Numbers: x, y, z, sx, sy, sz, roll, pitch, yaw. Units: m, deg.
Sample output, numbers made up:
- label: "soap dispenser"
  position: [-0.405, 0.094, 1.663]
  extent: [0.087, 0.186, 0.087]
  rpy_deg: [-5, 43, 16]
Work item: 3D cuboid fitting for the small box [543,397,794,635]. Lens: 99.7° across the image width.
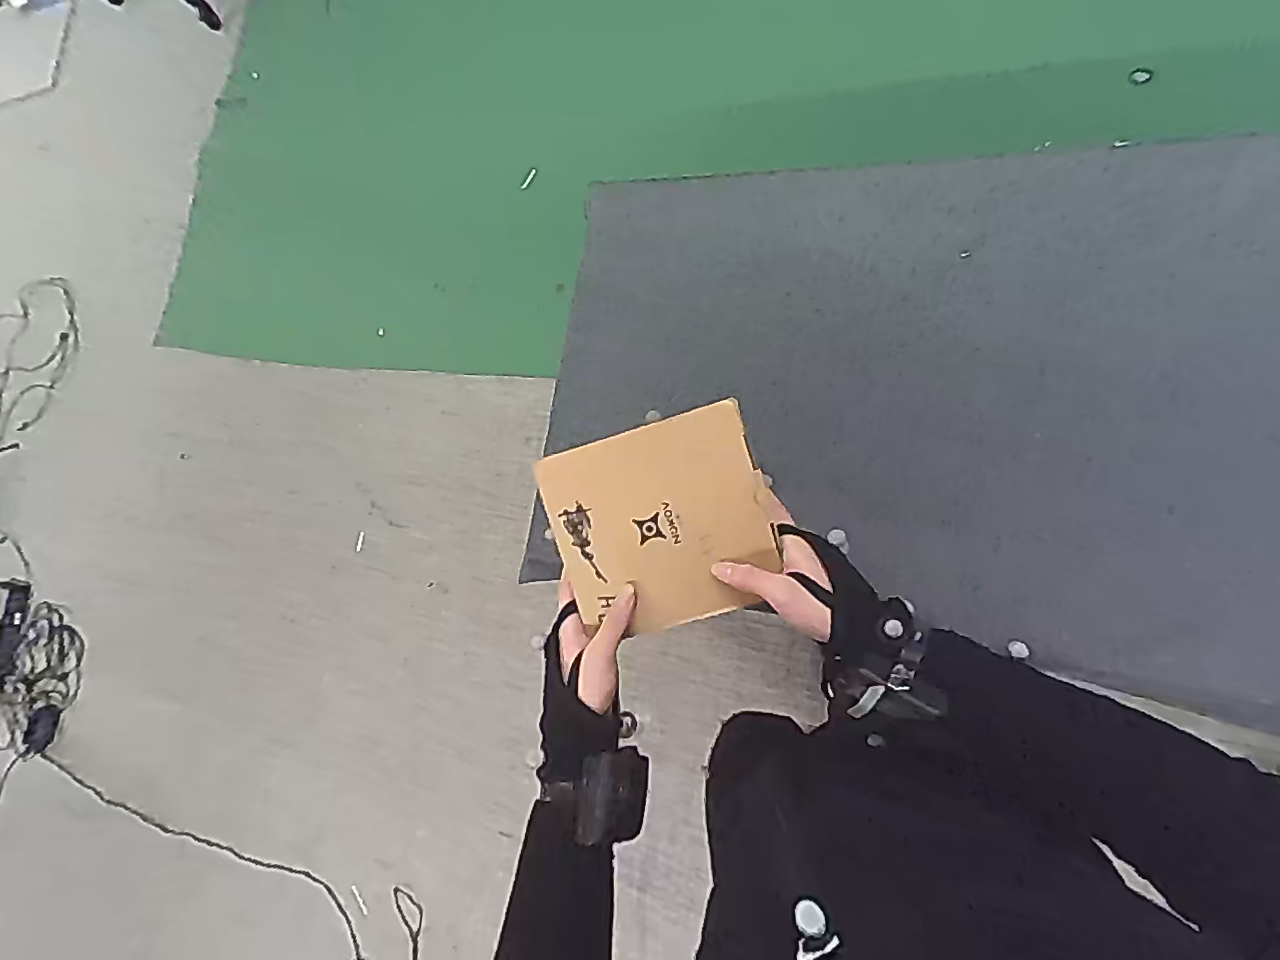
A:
- label: "small box"
  position: [0.030, 0.027, 0.523]
  extent: [0.179, 0.176, 0.168]
  rpy_deg: [-16, 90, 7]
